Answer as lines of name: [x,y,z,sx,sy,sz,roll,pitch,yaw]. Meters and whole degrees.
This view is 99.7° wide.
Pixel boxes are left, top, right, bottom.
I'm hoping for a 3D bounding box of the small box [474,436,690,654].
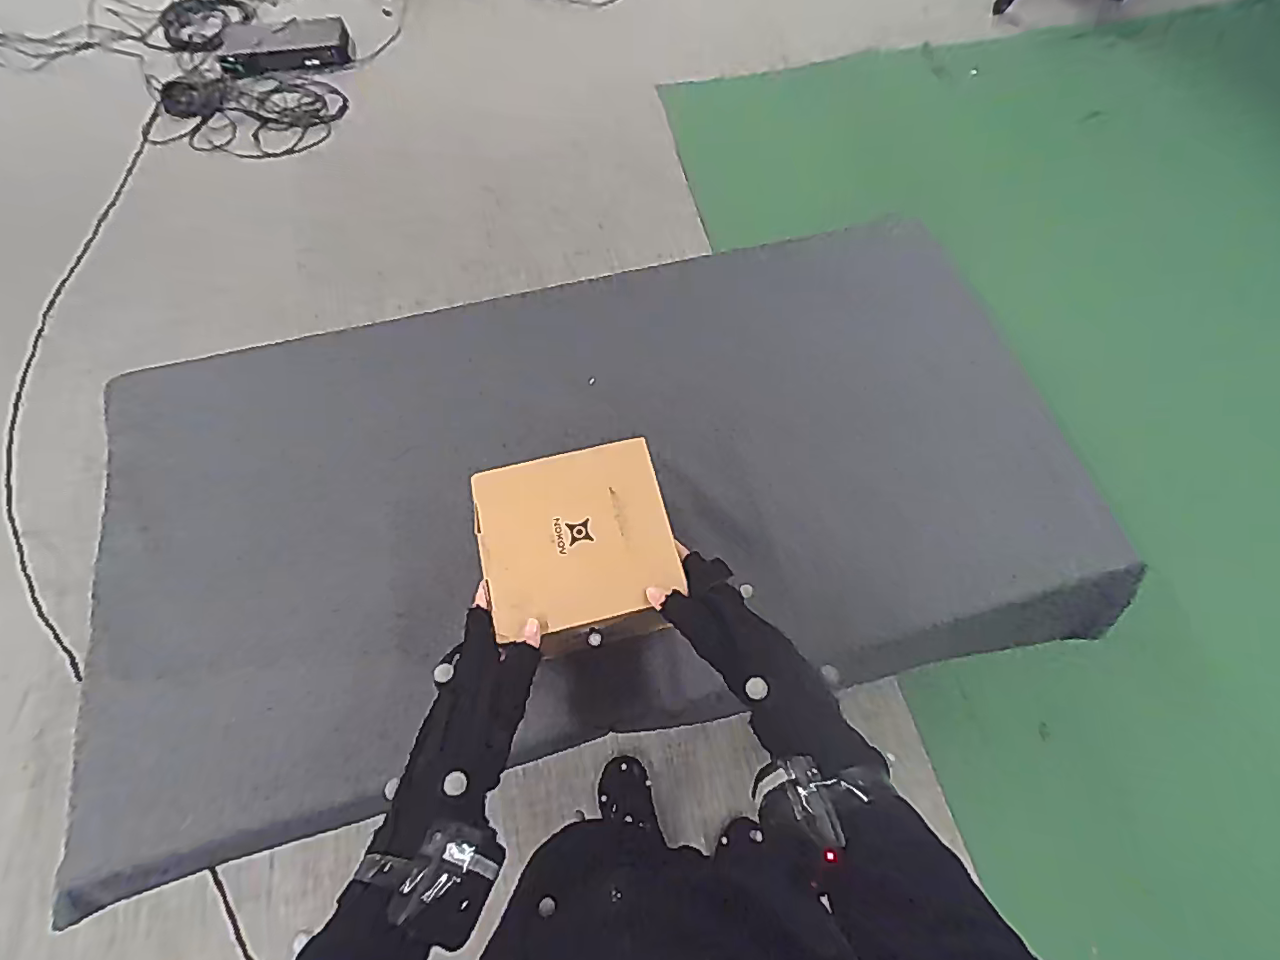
small box: [-0.059,0.078,0.574,0.179,0.176,0.168,-13,69,-8]
